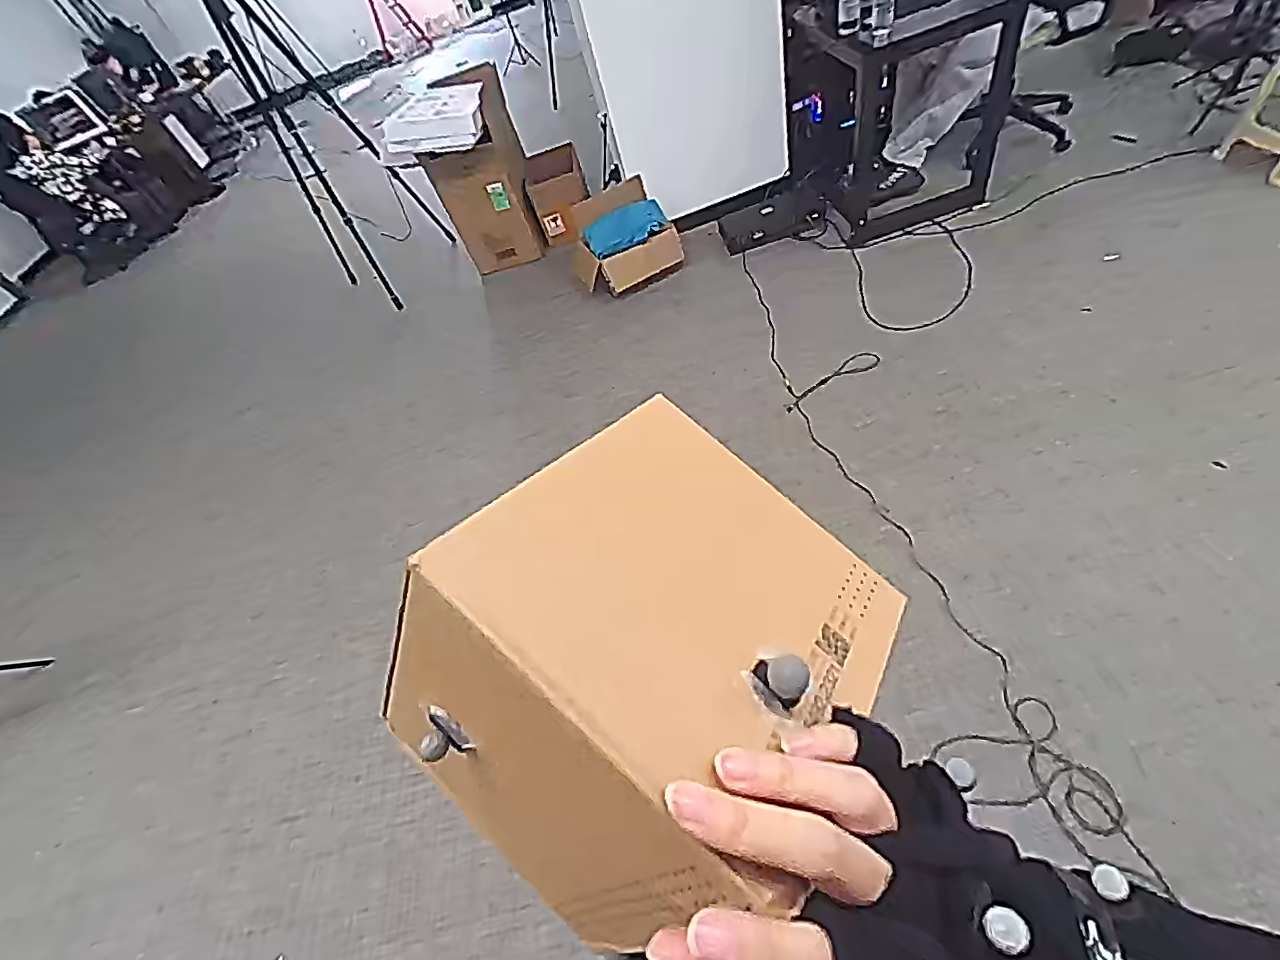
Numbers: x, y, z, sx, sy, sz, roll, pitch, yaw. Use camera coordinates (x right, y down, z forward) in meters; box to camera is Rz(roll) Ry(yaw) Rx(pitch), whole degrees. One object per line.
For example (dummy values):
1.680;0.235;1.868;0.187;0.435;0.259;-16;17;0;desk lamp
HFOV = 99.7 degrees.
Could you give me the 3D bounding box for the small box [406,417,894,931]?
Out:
-0.001;0.104;0.299;0.176;0.179;0.168;40;45;9;small box
